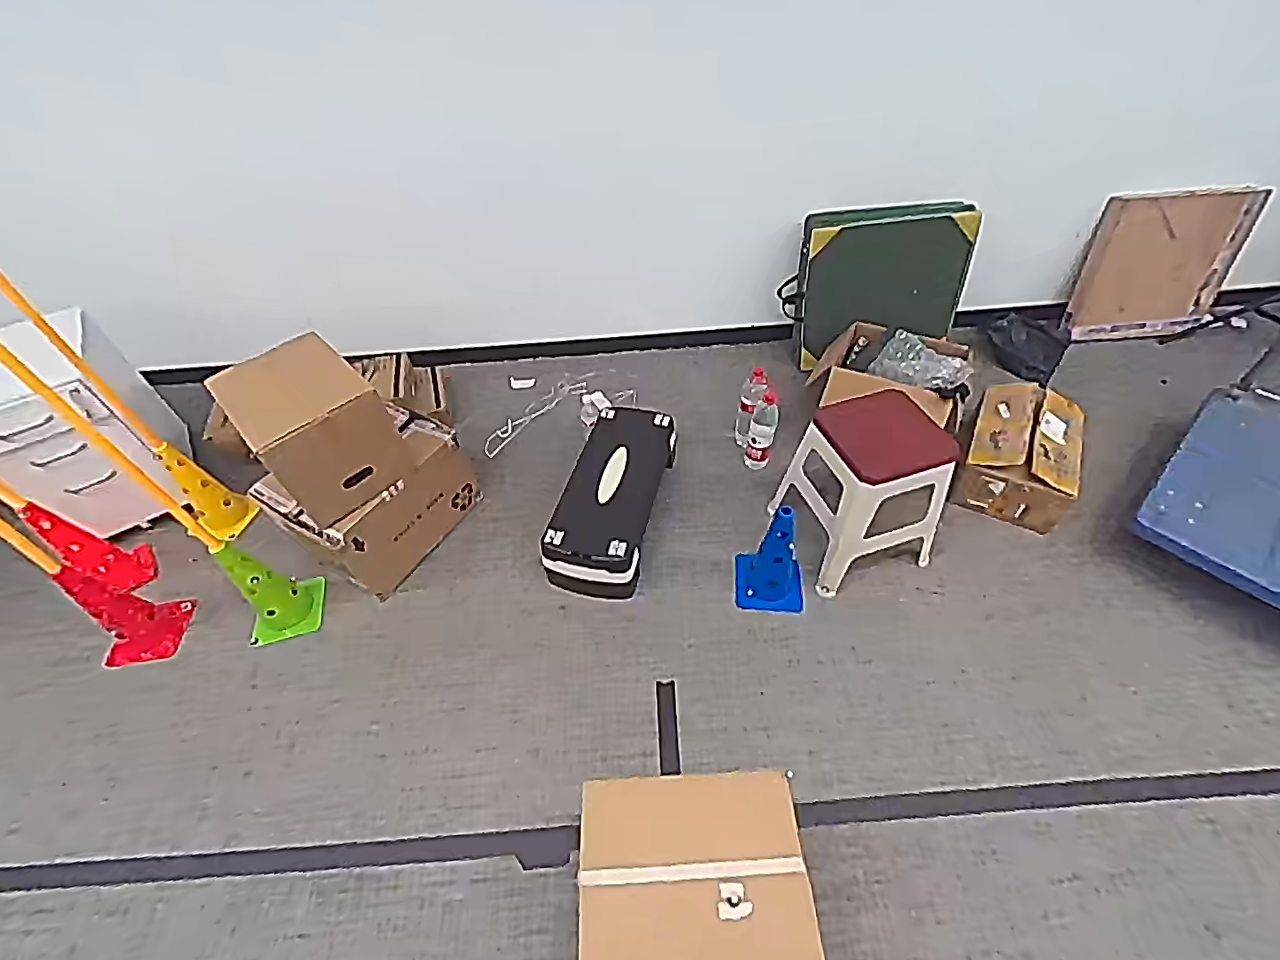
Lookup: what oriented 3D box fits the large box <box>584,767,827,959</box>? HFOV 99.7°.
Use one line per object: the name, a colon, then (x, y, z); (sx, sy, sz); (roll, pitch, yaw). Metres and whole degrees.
large box: (0.102, 0.795, 1.076); (0.408, 0.320, 0.320); (-3, 49, -1)
